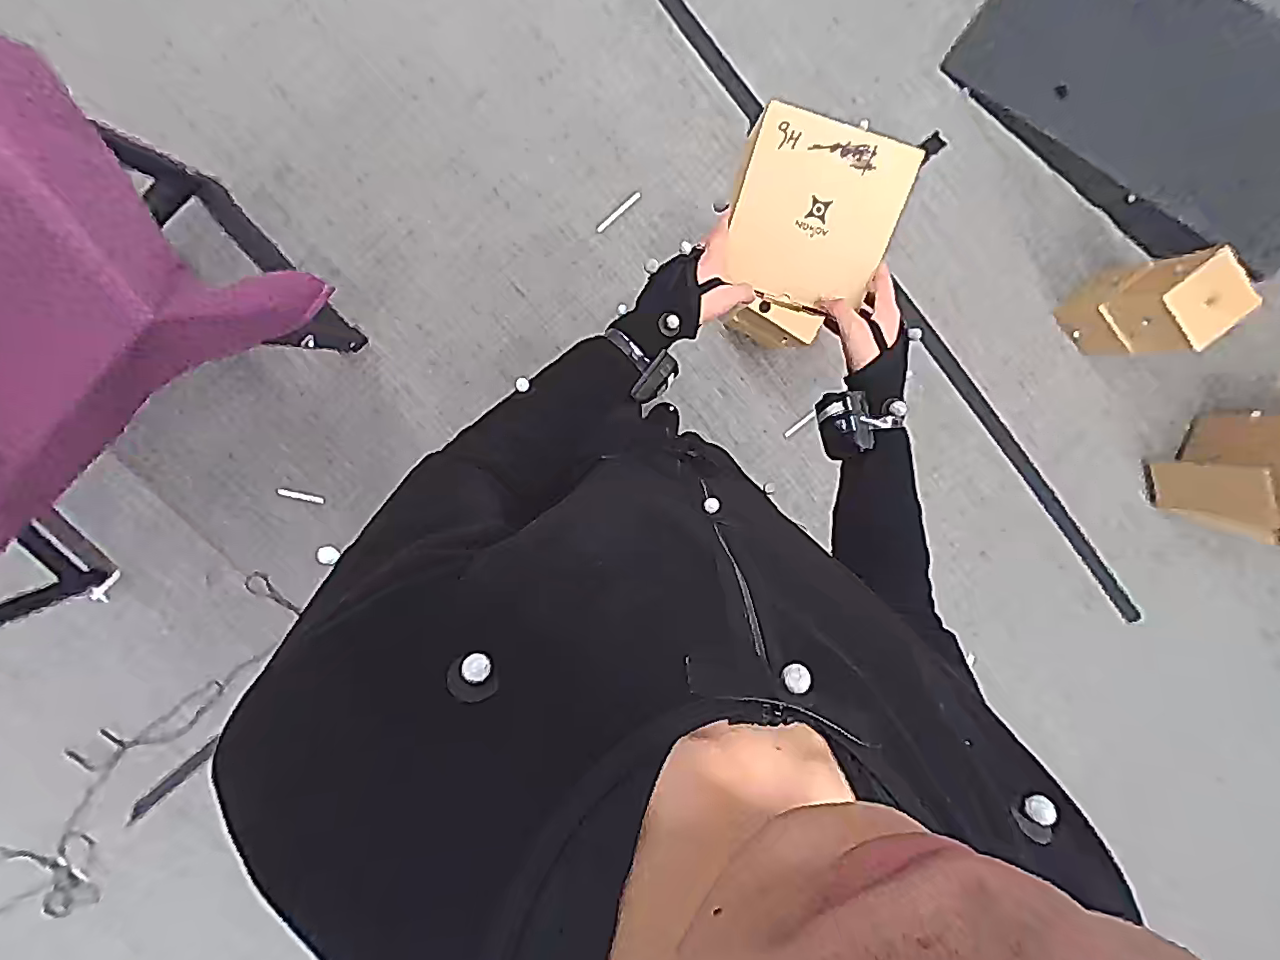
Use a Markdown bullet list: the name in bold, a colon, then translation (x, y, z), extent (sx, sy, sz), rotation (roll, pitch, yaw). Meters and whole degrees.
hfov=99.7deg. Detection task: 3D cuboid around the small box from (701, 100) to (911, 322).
- **small box**: translation (0.176, -0.304, 0.641), extent (0.168, 0.176, 0.179), rotation (16, 111, -4)
